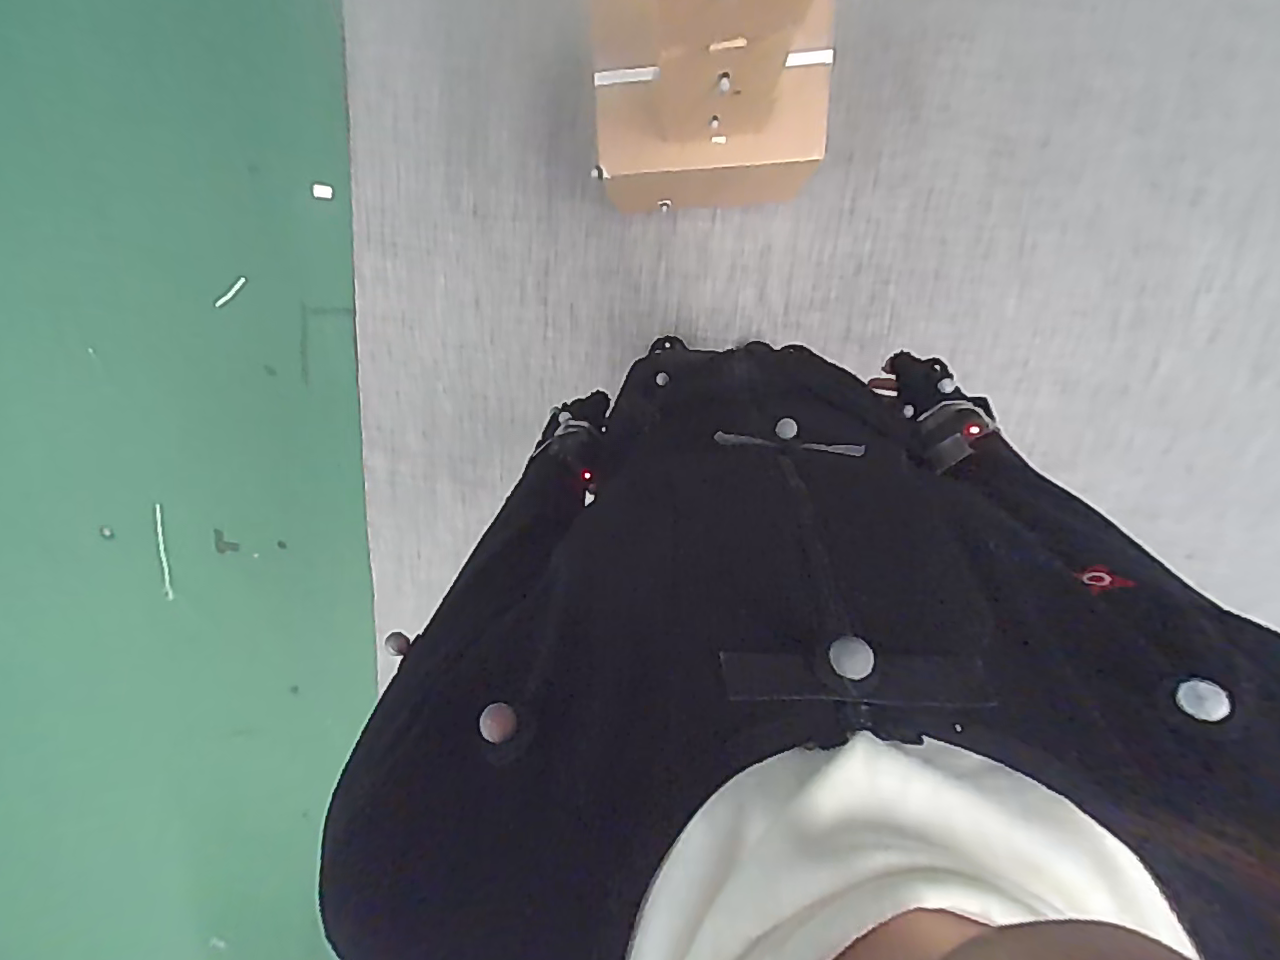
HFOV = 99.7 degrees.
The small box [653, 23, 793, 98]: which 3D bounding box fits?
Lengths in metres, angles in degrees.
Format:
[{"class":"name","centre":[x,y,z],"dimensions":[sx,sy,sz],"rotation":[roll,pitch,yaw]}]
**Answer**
[{"class":"small box","centre":[0.101,-0.620,0.693],"dimensions":[0.168,0.176,0.179],"rotation":[-4,106,7]}]
